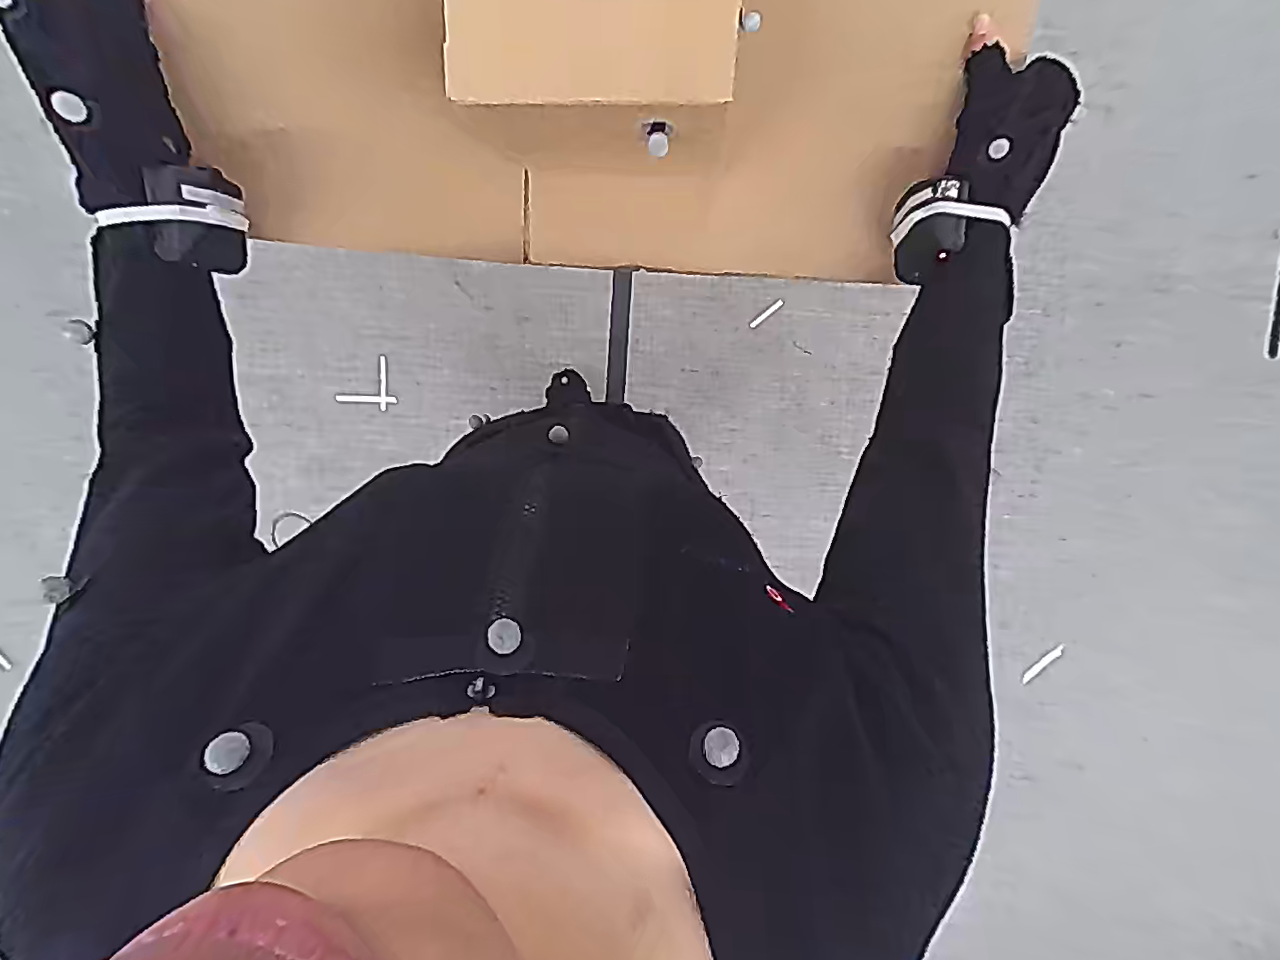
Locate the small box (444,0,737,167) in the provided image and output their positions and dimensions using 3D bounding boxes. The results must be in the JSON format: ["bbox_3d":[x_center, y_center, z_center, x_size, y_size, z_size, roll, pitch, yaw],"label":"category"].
[{"bbox_3d":[-0.020,-0.336,0.382,0.179,0.176,0.168,5,107,7],"label":"small box"}]
